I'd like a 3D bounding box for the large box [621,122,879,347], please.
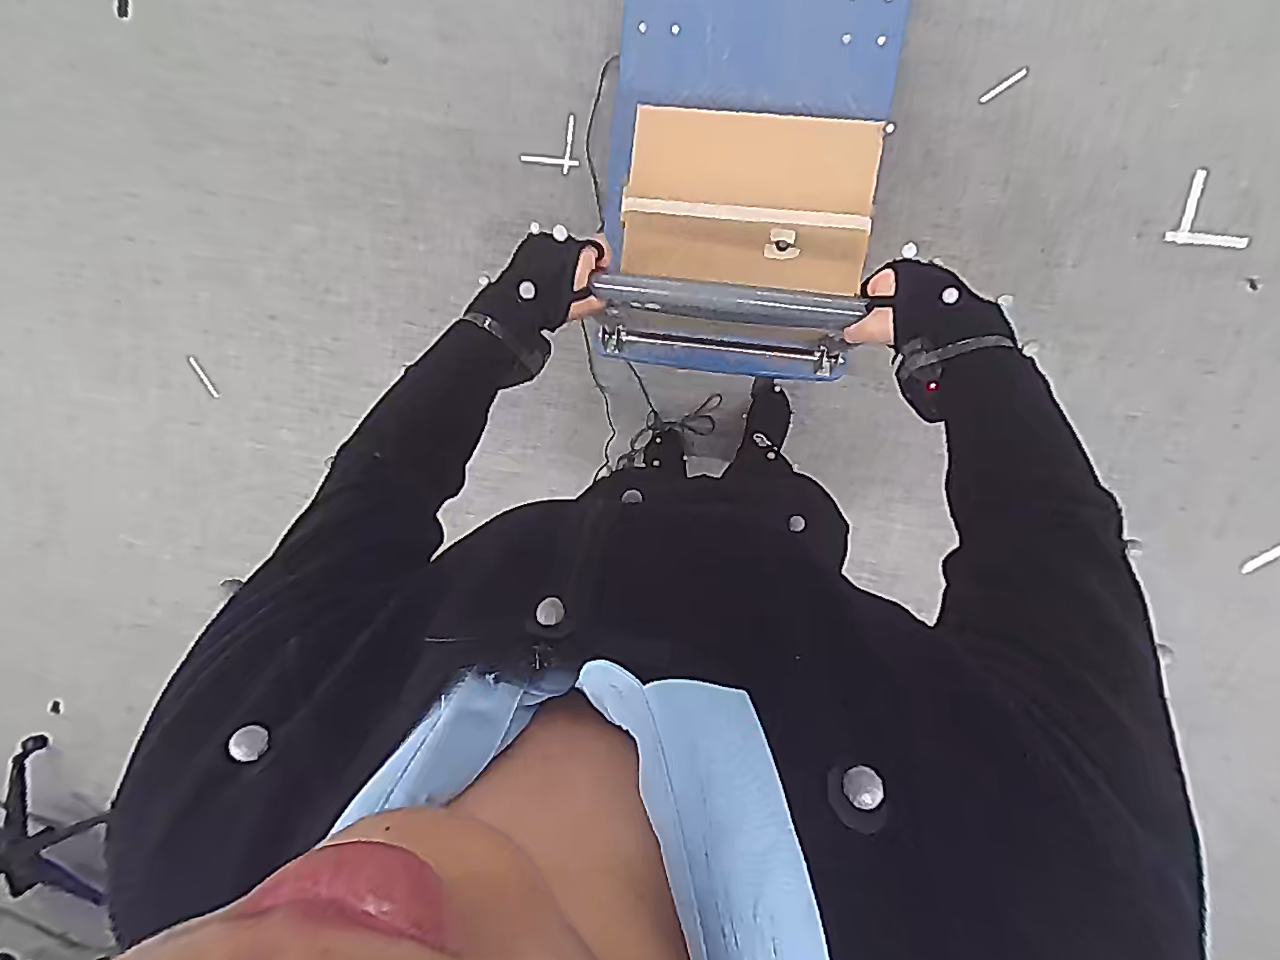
[{"bbox_3d":[0.186,-0.445,1.050,0.408,0.320,0.320,7,99,4],"label":"large box"}]
